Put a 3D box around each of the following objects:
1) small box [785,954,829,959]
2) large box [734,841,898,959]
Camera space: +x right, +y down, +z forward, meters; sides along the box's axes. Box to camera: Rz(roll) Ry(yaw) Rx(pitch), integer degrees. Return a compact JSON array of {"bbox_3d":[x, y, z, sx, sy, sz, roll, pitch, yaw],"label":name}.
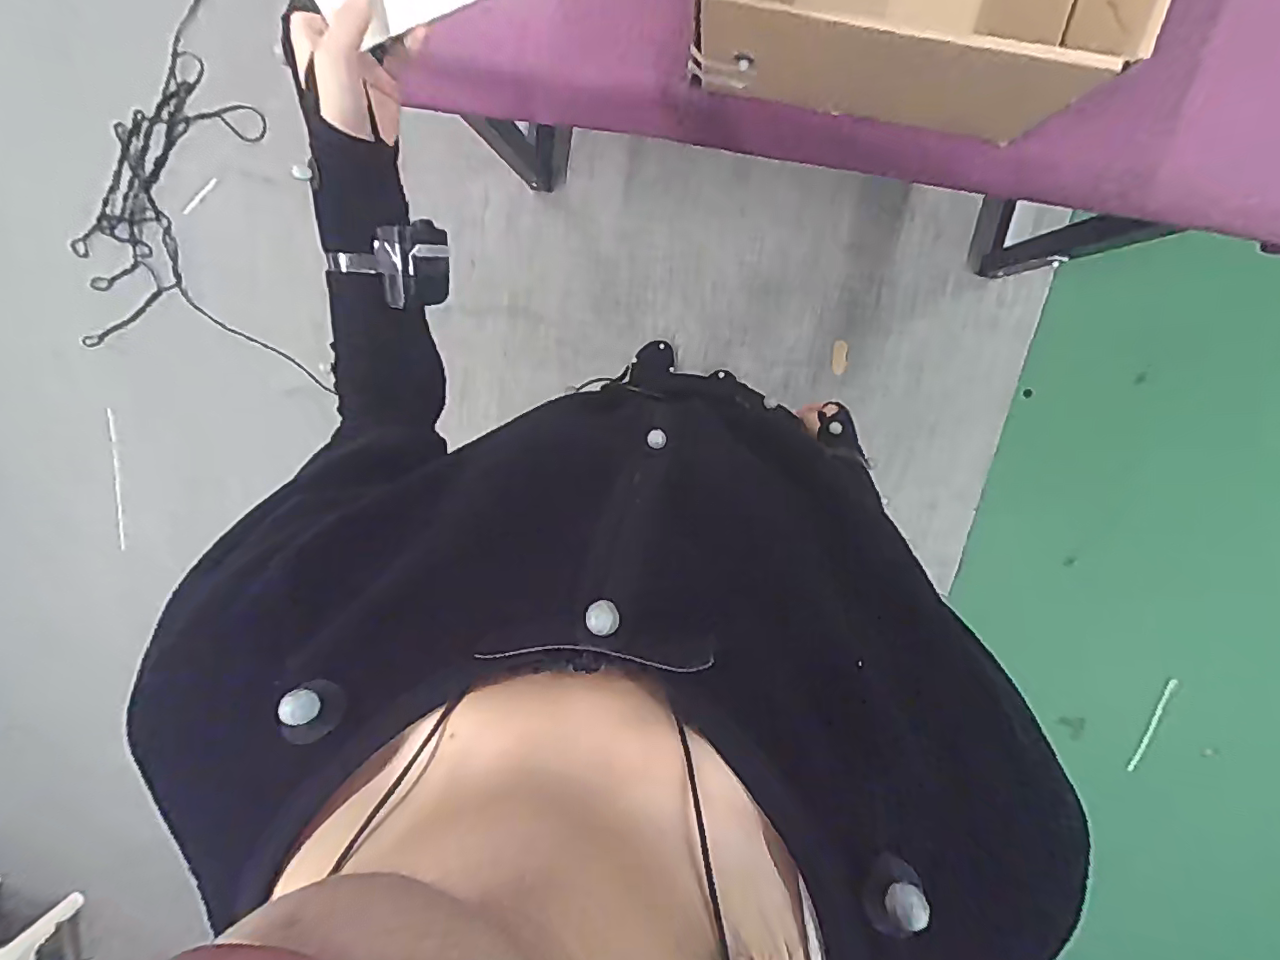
[{"bbox_3d":[0.460,1.366,1.381,0.168,0.176,0.179,2,102,5],"label":"small box"},{"bbox_3d":[0.508,1.342,1.624,0.408,0.320,0.320,-4,103,4],"label":"large box"}]
